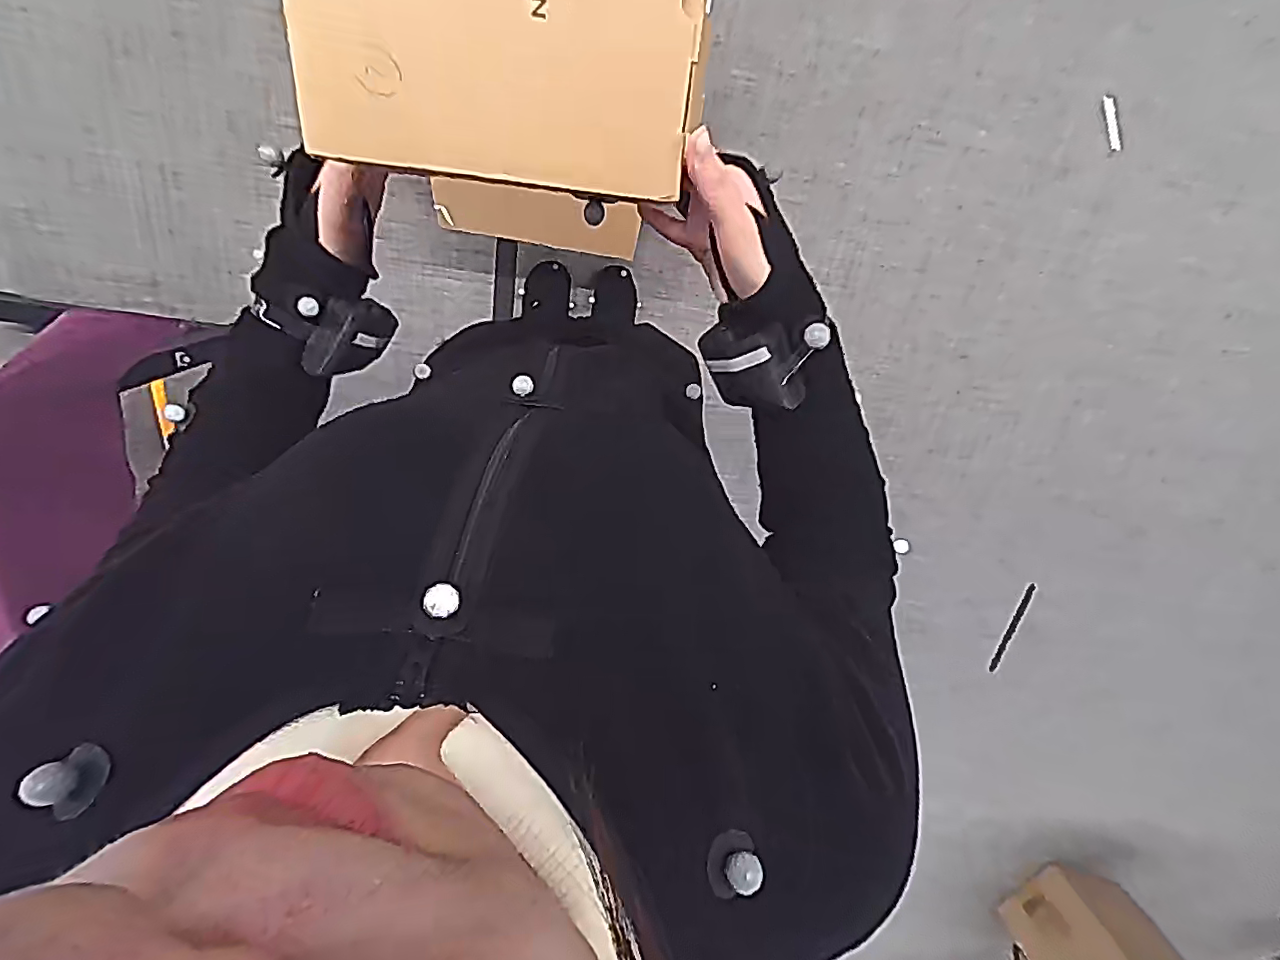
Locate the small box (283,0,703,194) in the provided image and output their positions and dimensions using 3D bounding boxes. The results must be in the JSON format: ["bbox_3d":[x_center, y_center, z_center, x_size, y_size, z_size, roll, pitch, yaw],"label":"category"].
[{"bbox_3d":[-0.072,-0.256,0.290,0.179,0.176,0.168,0,118,-15],"label":"small box"}]
